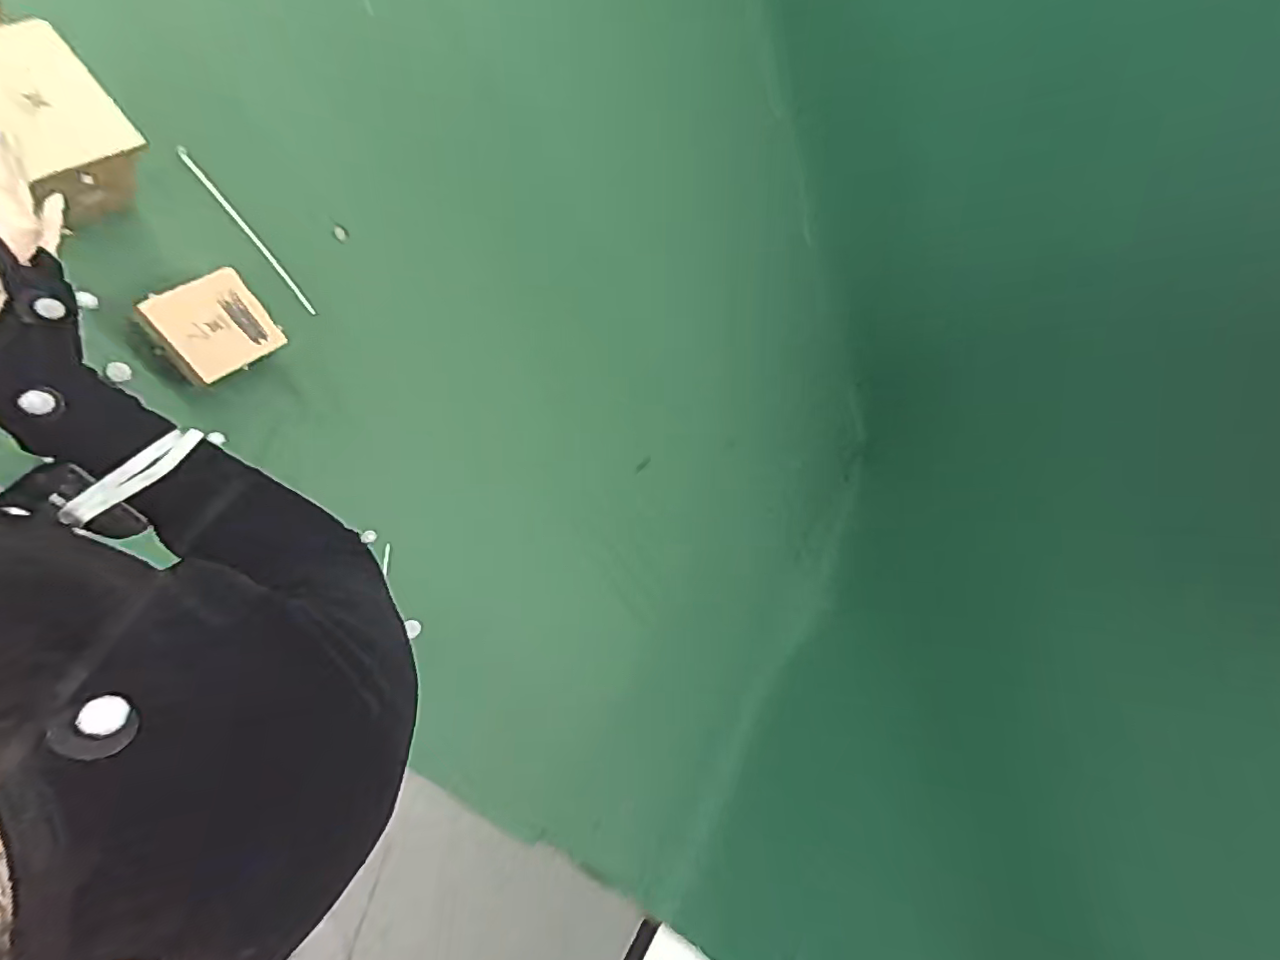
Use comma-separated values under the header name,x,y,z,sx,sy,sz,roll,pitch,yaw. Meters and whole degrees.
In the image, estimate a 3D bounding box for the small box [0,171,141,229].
name,x,y,z,sx,sy,sz,roll,pitch,yaw
small box,-1.023,-0.558,0.935,0.168,0.176,0.179,-49,125,-30

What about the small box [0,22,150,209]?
name,x,y,z,sx,sy,sz,roll,pitch,yaw
small box,-0.908,-0.542,0.820,0.179,0.176,0.168,-49,126,-30
